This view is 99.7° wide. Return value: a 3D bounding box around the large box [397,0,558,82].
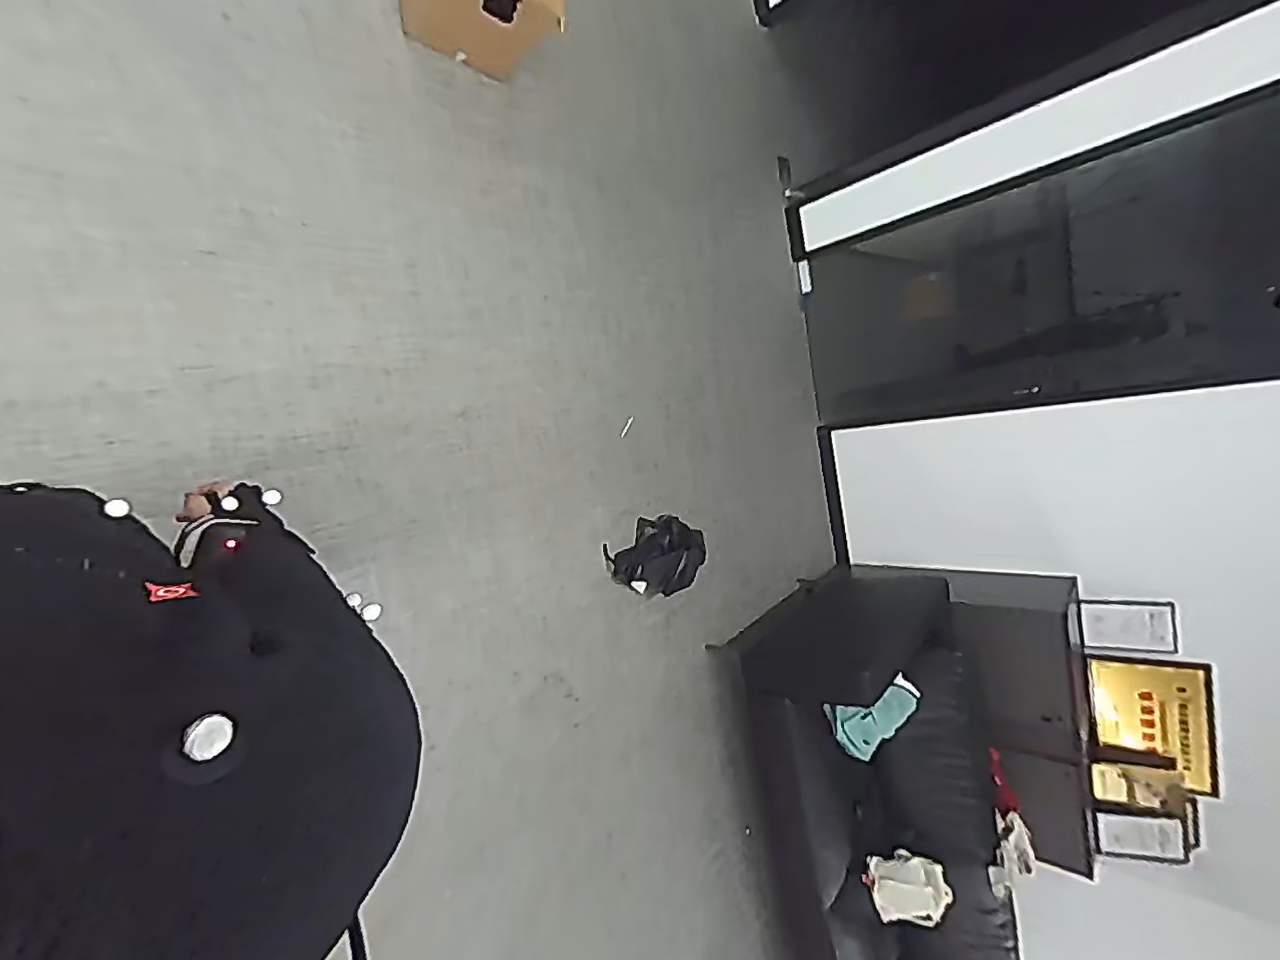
[{"bbox_3d":[-0.455,-1.410,1.451,0.320,0.320,0.408,-9,95,-45],"label":"large box"}]
